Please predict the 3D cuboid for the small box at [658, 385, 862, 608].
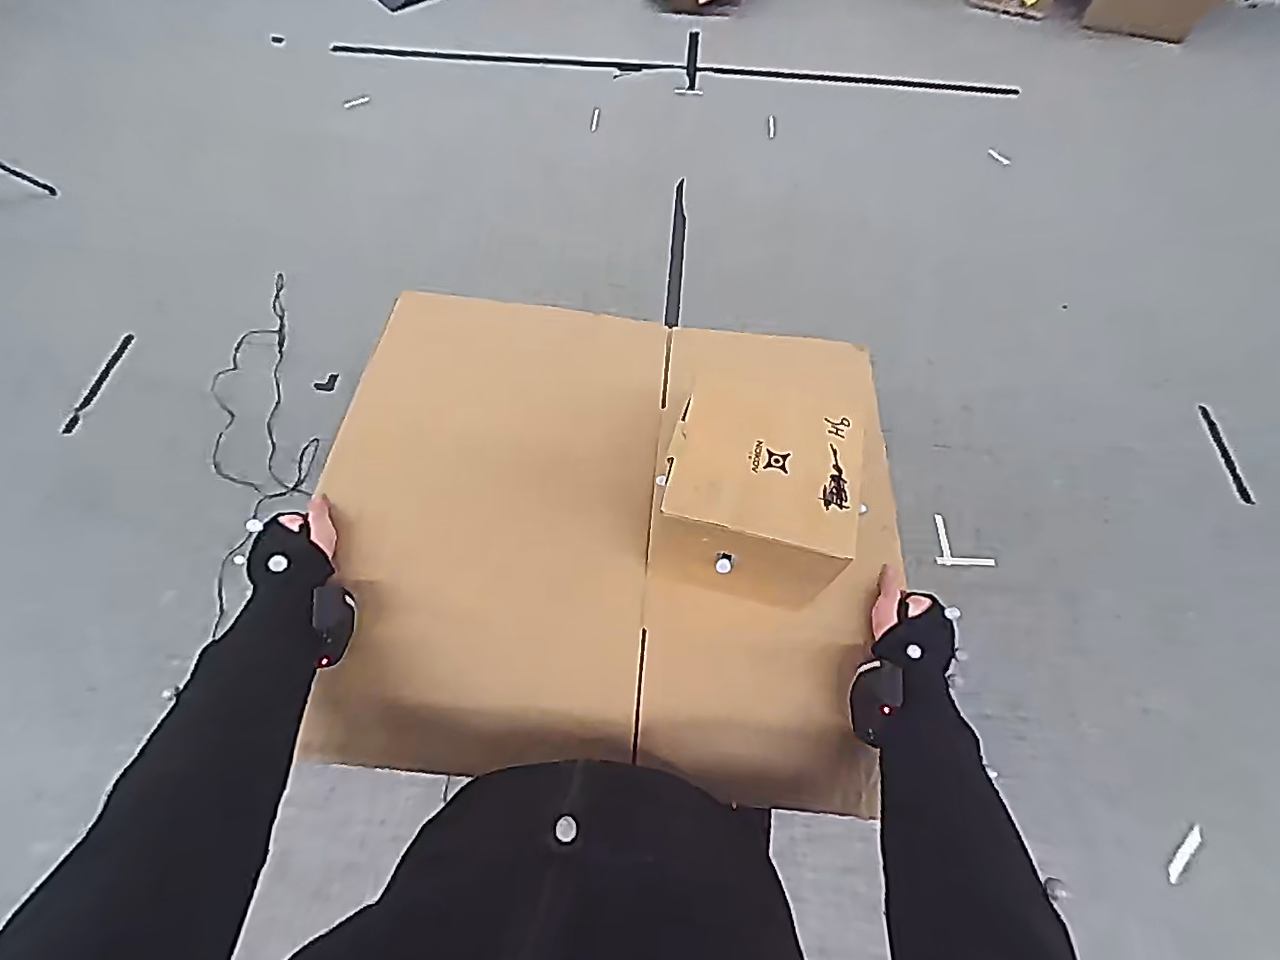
[{"bbox_3d":[0.121,0.025,0.589,0.179,0.176,0.168,13,62,7],"label":"small box"}]
